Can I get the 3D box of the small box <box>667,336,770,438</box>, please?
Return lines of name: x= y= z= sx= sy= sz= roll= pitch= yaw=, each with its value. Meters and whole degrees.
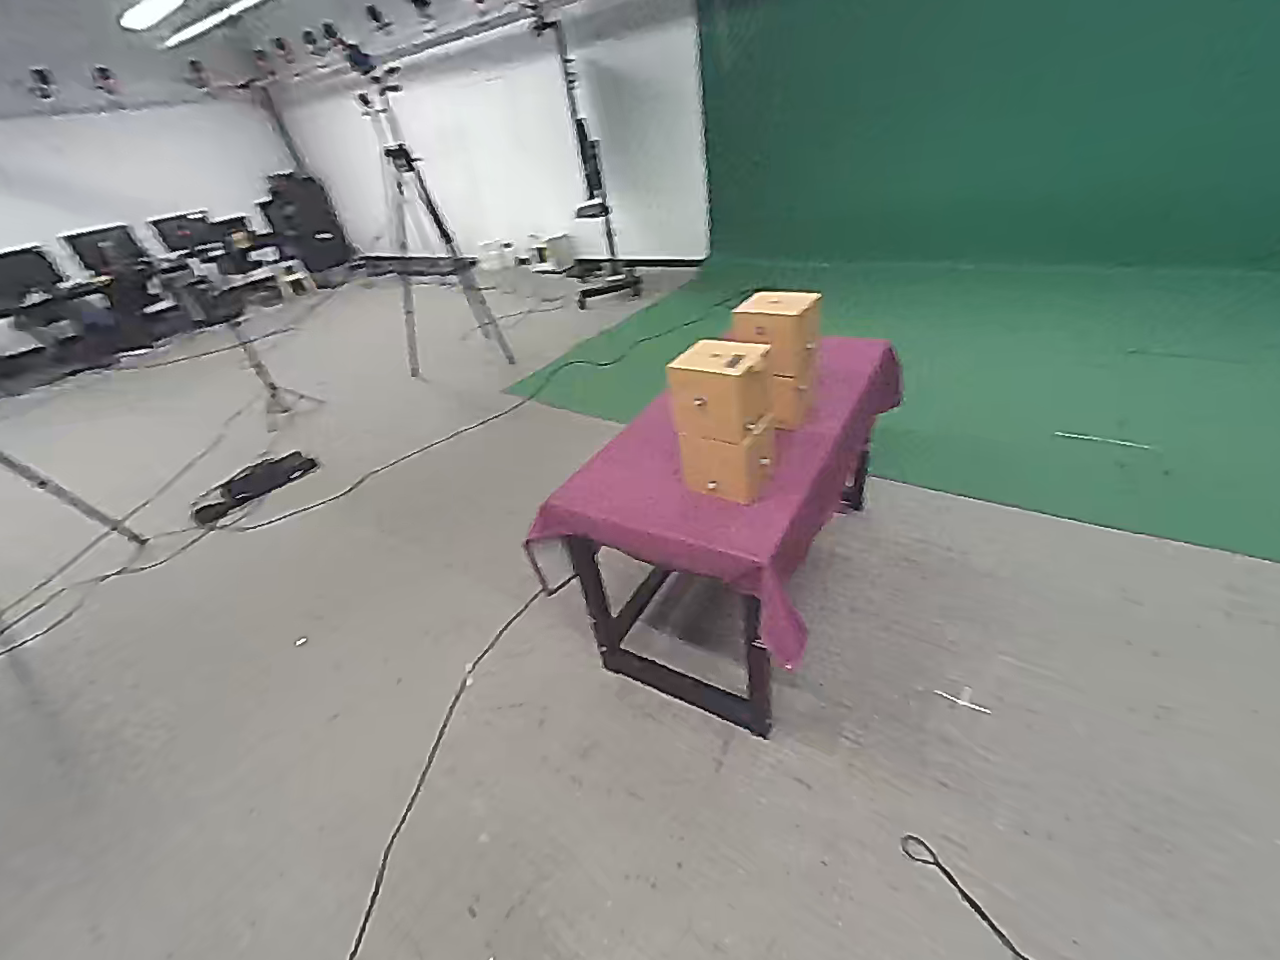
small box: x=0.186 y=-0.212 z=1.235 sx=0.179 sy=0.176 sz=0.168 roll=15 pitch=42 yaw=33

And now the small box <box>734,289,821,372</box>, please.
small box: x=0.370 y=-0.405 z=1.462 sx=0.179 sy=0.176 sz=0.168 roll=17 pitch=44 yaw=33

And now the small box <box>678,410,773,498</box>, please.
small box: x=0.213 y=-0.076 z=1.324 sx=0.179 sy=0.176 sz=0.168 roll=16 pitch=41 yaw=31
